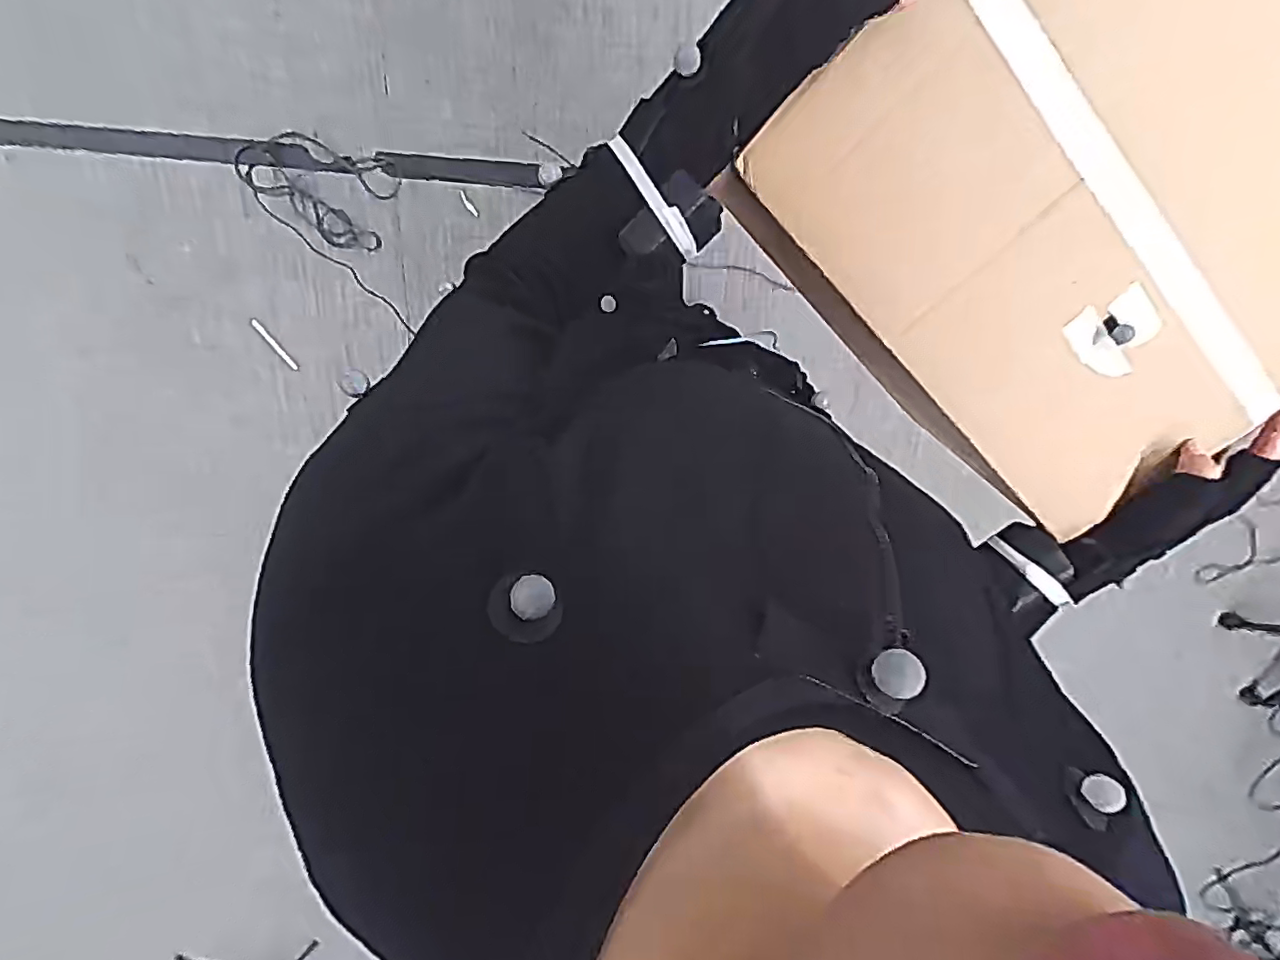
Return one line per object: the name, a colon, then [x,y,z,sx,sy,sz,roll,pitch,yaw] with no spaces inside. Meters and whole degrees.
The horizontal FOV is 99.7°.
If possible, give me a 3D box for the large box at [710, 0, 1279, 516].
large box: [0.316,-0.252,0.492,0.408,0.320,0.320,41,113,-15]
